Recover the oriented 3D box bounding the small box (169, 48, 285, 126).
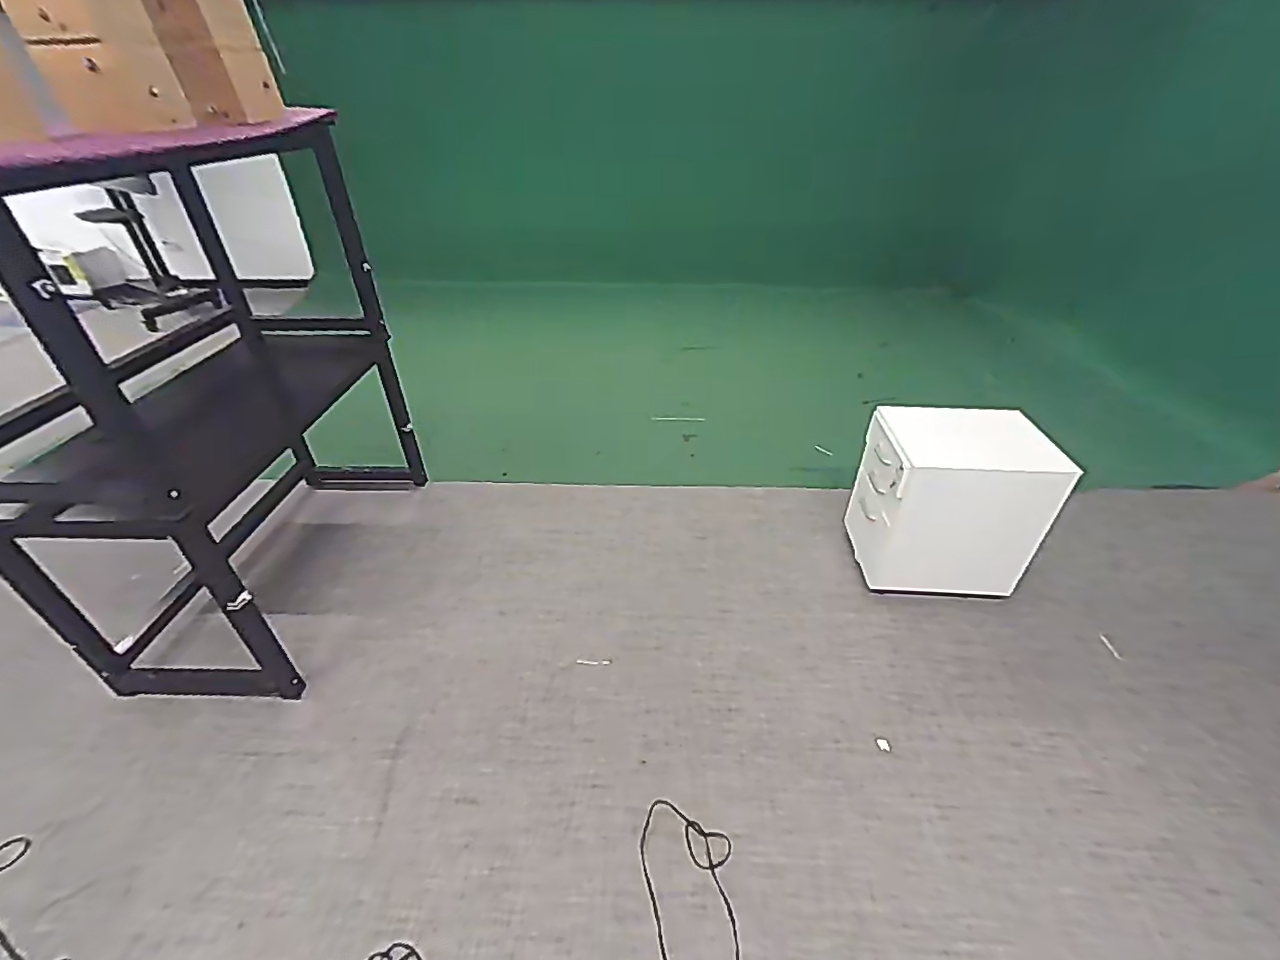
[{"bbox_3d":[-1.147,-1.106,1.525,0.168,0.176,0.179,1,38,7],"label":"small box"}]

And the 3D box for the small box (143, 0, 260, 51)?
[{"bbox_3d":[-1.161,-1.234,1.426,0.168,0.176,0.179,3,37,10],"label":"small box"}]

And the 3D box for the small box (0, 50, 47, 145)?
[{"bbox_3d":[-1.186,-0.659,0.907,0.168,0.176,0.179,-1,36,-3],"label":"small box"}]

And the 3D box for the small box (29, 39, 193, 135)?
[{"bbox_3d":[-1.197,-0.902,1.245,0.179,0.176,0.168,1,35,2],"label":"small box"}]
